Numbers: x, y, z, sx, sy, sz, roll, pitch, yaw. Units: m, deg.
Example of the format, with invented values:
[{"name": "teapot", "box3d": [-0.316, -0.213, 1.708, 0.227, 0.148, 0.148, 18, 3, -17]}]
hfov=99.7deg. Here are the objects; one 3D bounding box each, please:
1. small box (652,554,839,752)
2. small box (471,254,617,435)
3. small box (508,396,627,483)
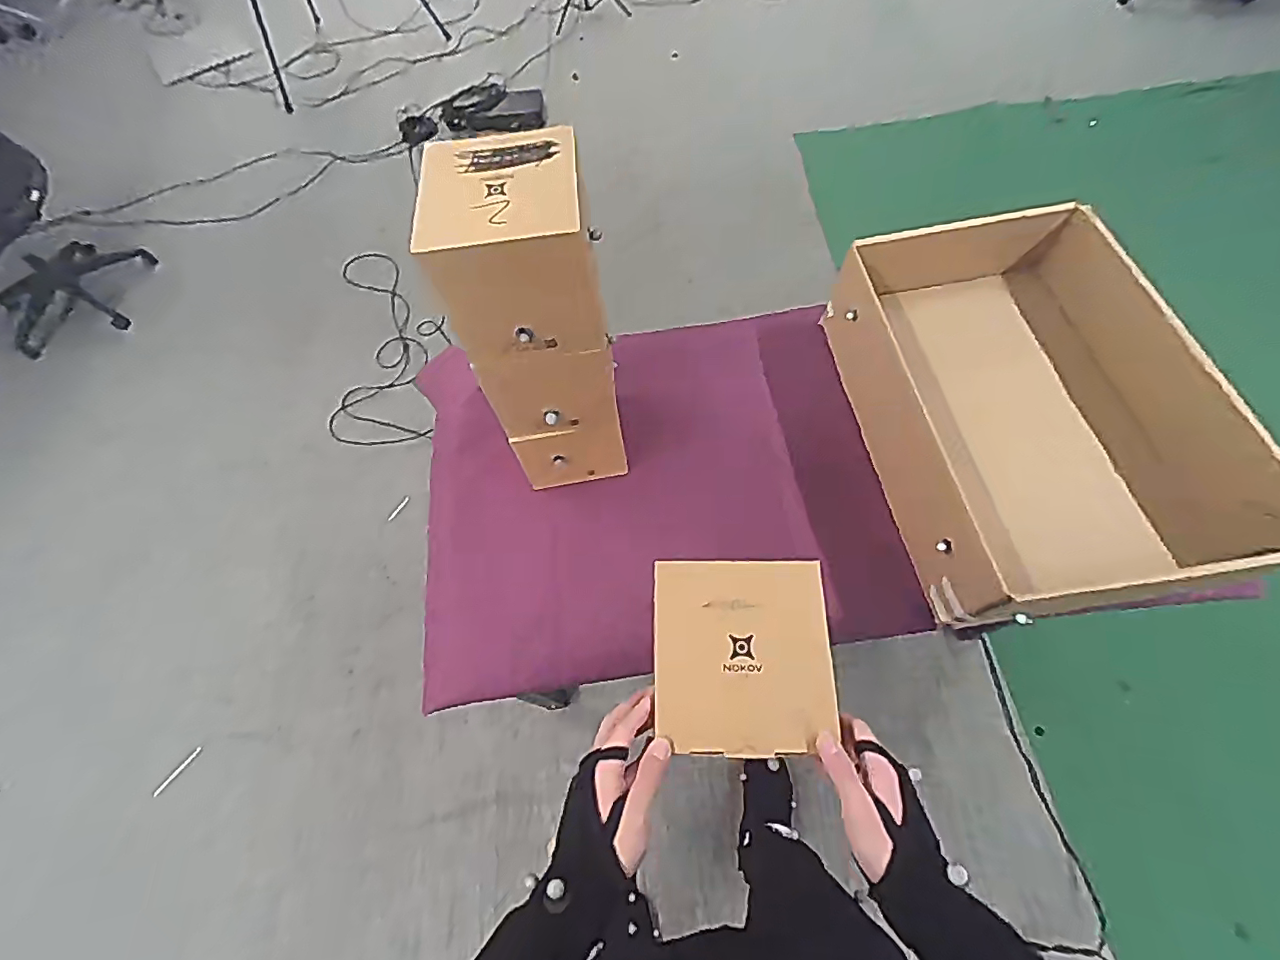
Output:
[{"name": "small box", "box3d": [0.097, 0.186, 0.577, 0.168, 0.176, 0.179, 0, 65, 2]}, {"name": "small box", "box3d": [-0.125, -0.186, 0.766, 0.168, 0.176, 0.179, -6, 63, 2]}, {"name": "small box", "box3d": [-0.119, -0.107, 0.910, 0.168, 0.176, 0.179, -10, 62, 0]}]
